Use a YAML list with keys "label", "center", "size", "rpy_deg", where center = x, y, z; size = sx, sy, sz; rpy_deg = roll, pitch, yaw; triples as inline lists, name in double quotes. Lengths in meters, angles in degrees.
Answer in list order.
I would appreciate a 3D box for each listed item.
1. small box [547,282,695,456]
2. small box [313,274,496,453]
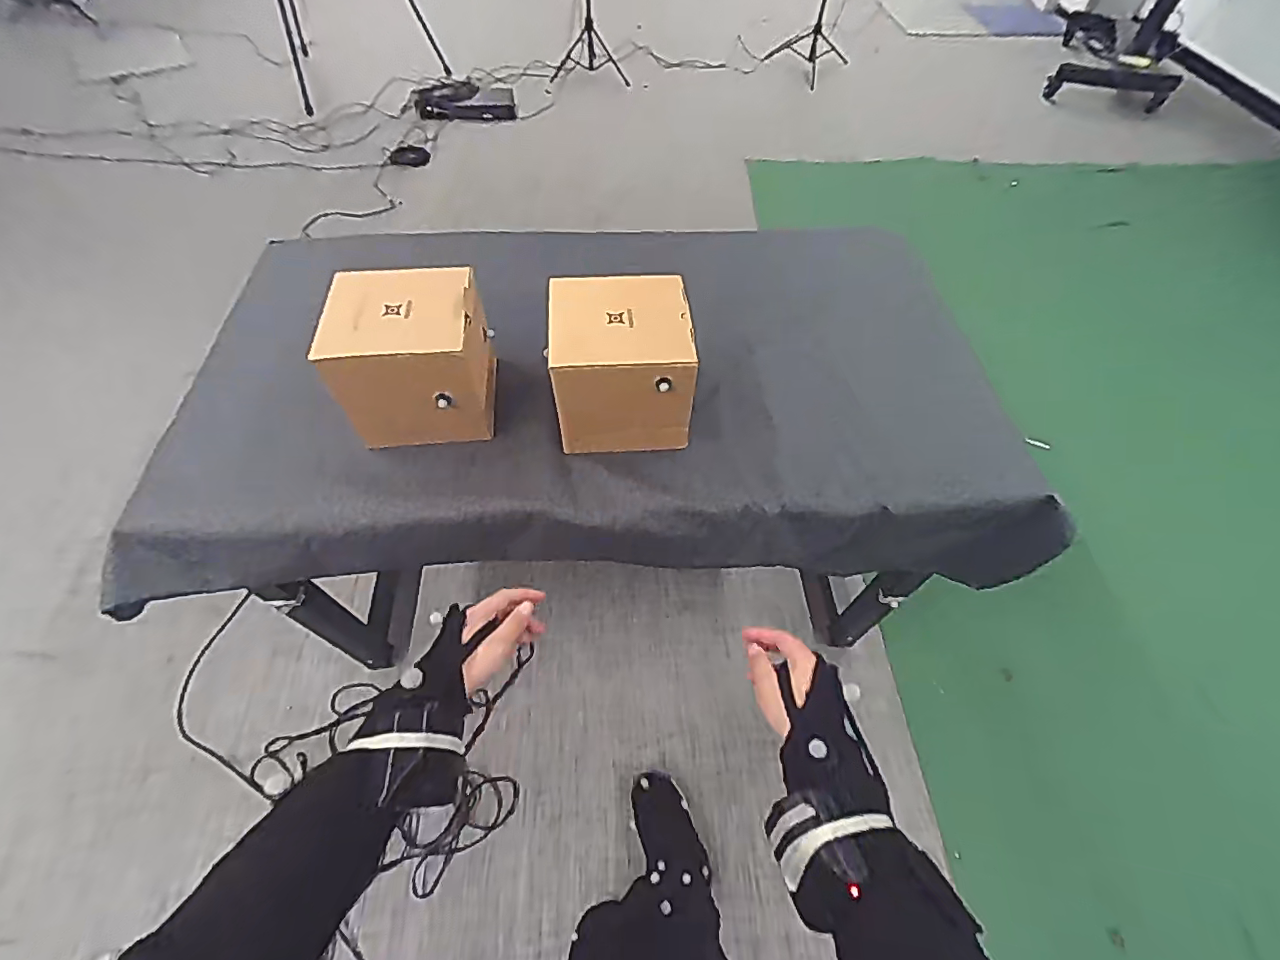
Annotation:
- label: "small box"
  center: [-0.027, -0.146, 0.736]
  size: [0.179, 0.176, 0.168]
  rpy_deg: [-3, 55, -4]
- label: "small box"
  center: [-0.298, -0.153, 0.734]
  size: [0.179, 0.176, 0.168]
  rpy_deg: [-6, 55, -4]
